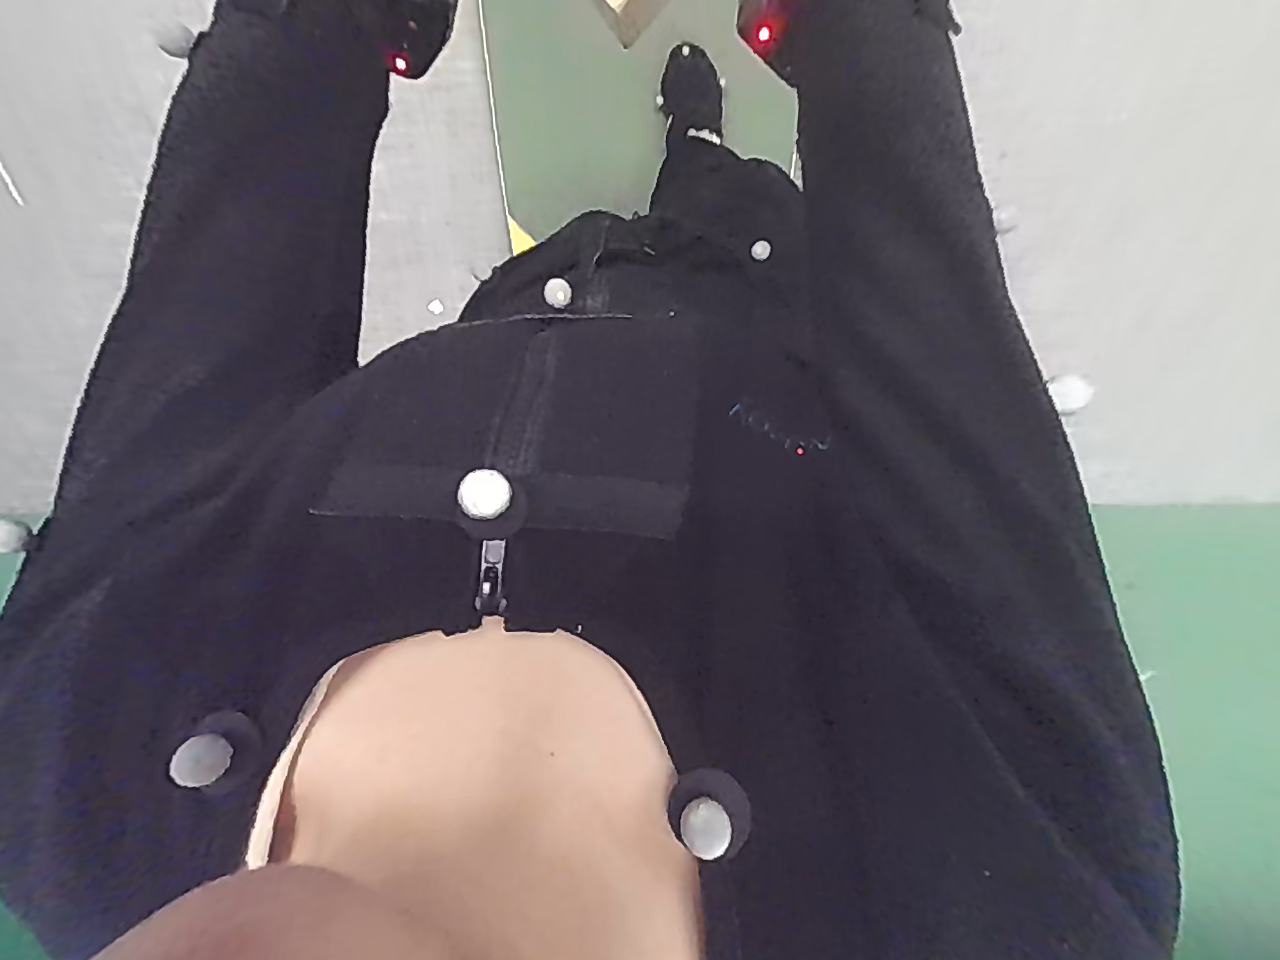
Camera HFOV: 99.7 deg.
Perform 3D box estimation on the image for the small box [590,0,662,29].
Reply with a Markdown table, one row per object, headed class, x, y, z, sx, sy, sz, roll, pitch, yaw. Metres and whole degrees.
| class | x | y | z | sx | sy | sz | roll | pitch | yaw |
| --- | --- | --- | --- | --- | --- | --- | --- | --- | --- |
| small box | -0.012 | -0.466 | 0.379 | 0.168 | 0.176 | 0.179 | -38 | 113 | 21 |
